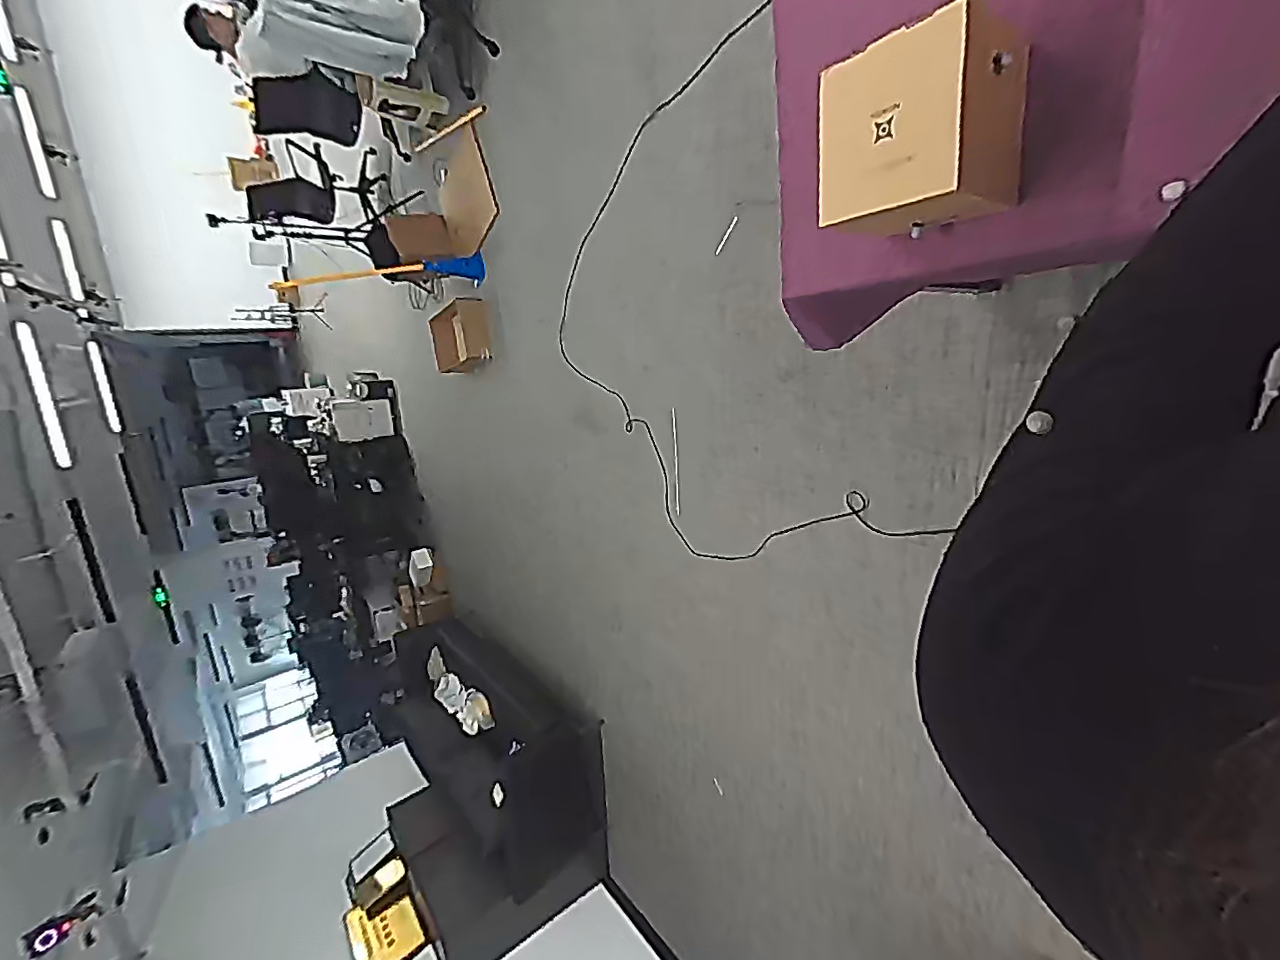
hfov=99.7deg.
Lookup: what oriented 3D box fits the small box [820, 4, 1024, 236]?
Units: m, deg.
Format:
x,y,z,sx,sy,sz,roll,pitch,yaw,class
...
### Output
x,y,z,sx,sy,sz,roll,pitch,yaw,class
0.339,-0.410,0.656,0.168,0.176,0.179,12,111,52,small box
